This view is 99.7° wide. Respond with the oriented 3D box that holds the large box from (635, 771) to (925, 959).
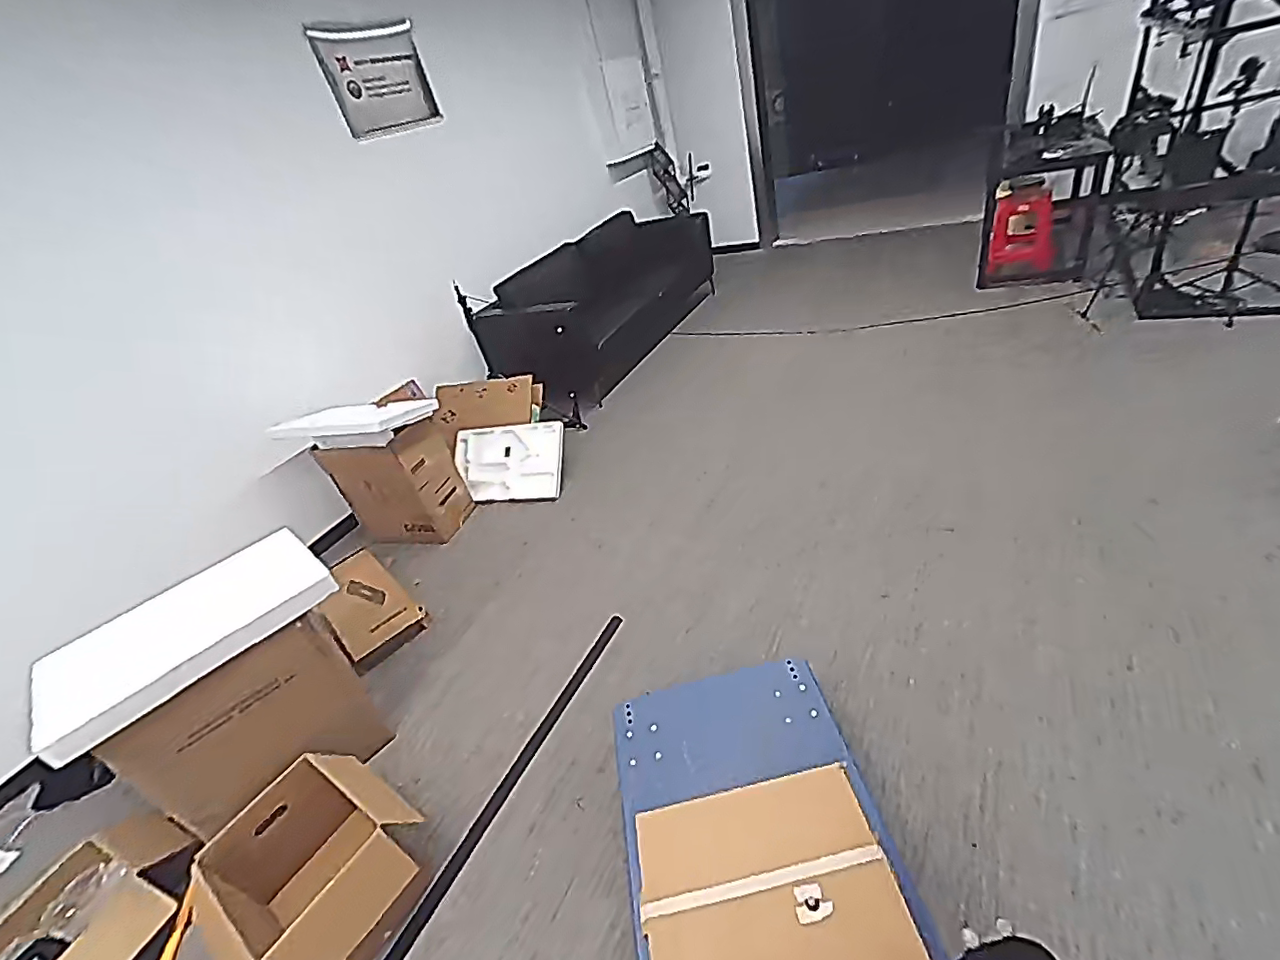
[{"bbox_3d":[0.233,0.798,0.966,0.408,0.320,0.320,-15,33,1],"label":"large box"}]
